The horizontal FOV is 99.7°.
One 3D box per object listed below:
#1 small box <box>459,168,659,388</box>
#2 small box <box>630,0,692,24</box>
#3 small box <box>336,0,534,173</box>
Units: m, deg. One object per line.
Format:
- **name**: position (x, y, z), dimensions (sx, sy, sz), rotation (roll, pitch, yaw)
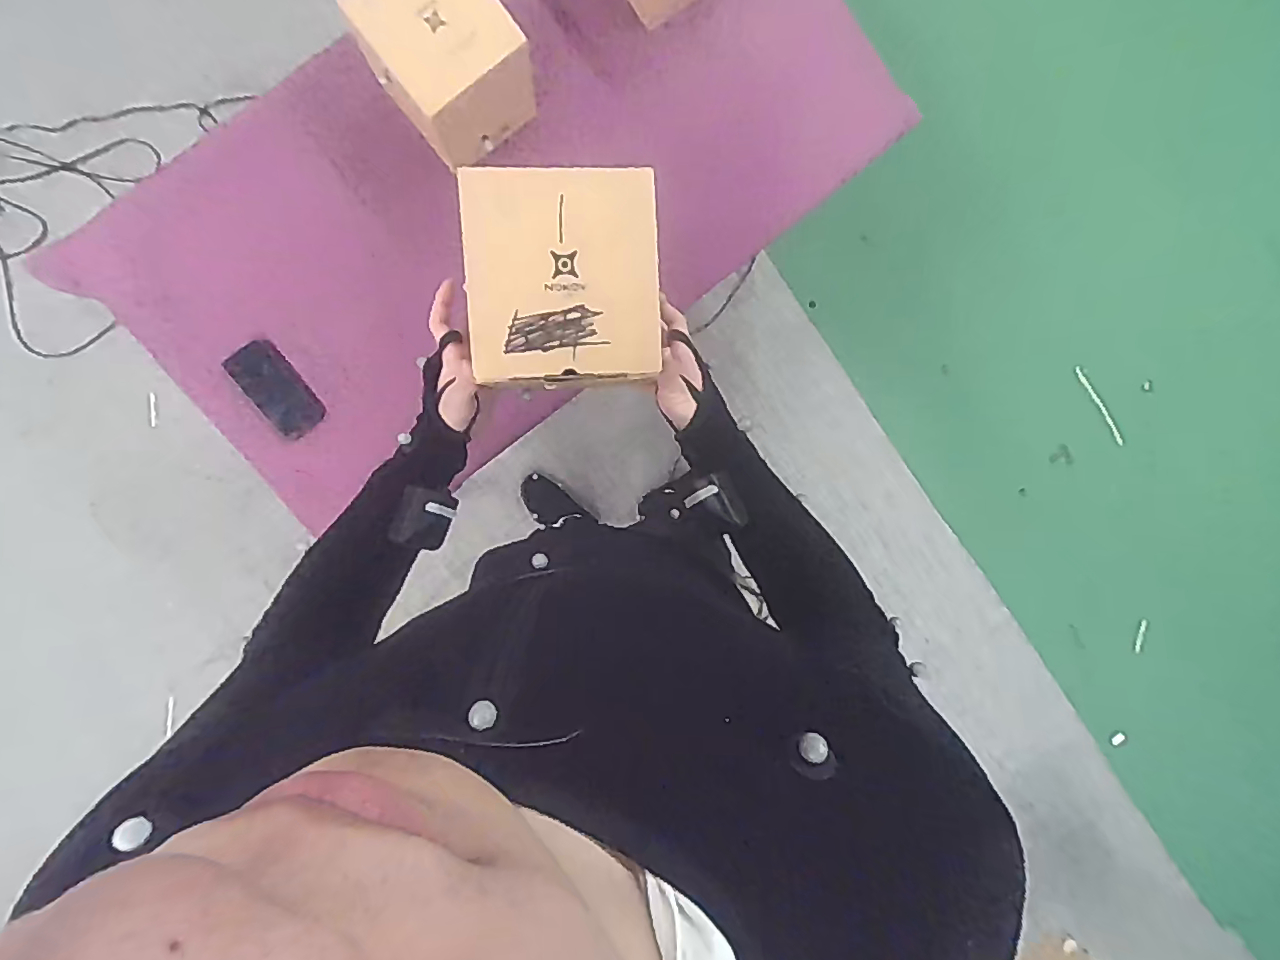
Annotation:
- **small box**: position (-0.072, -0.183, 0.539), dimensions (0.168, 0.176, 0.179), rotation (-3, 96, -5)
- **small box**: position (0.034, -0.822, 0.768), dimensions (0.168, 0.176, 0.179), rotation (-37, 96, -1)
- **small box**: position (-0.270, -0.580, 0.759), dimensions (0.168, 0.176, 0.179), rotation (-39, 97, -1)
